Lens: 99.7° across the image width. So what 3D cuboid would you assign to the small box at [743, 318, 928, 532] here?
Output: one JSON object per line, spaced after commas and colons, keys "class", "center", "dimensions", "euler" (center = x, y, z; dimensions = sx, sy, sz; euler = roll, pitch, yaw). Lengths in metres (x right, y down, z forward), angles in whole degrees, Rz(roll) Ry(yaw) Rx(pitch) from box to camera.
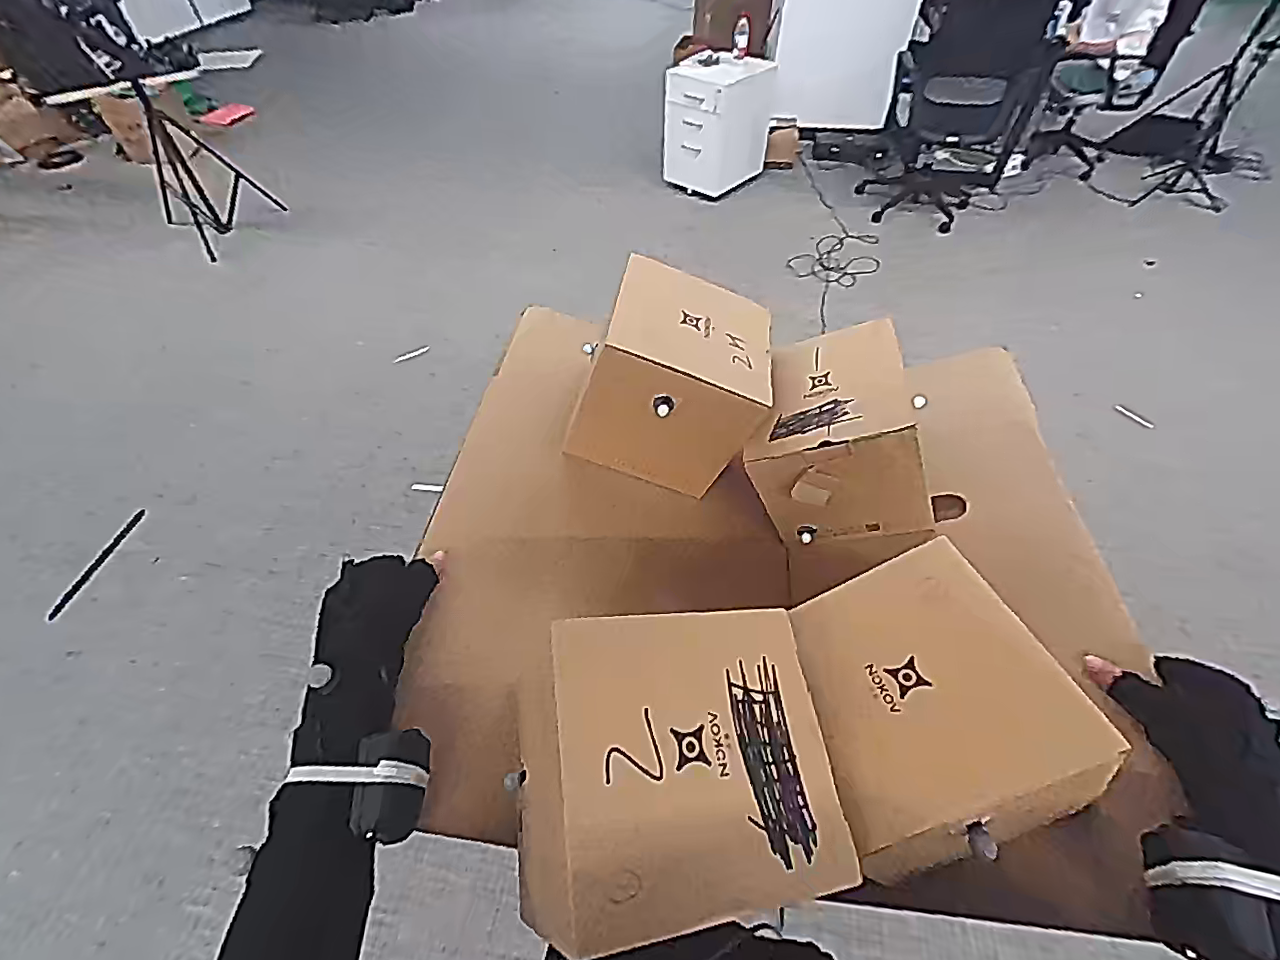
{"class": "small box", "center": [0.230, -0.052, 0.637], "dimensions": [0.168, 0.176, 0.179], "euler": [-12, 46, 26]}
